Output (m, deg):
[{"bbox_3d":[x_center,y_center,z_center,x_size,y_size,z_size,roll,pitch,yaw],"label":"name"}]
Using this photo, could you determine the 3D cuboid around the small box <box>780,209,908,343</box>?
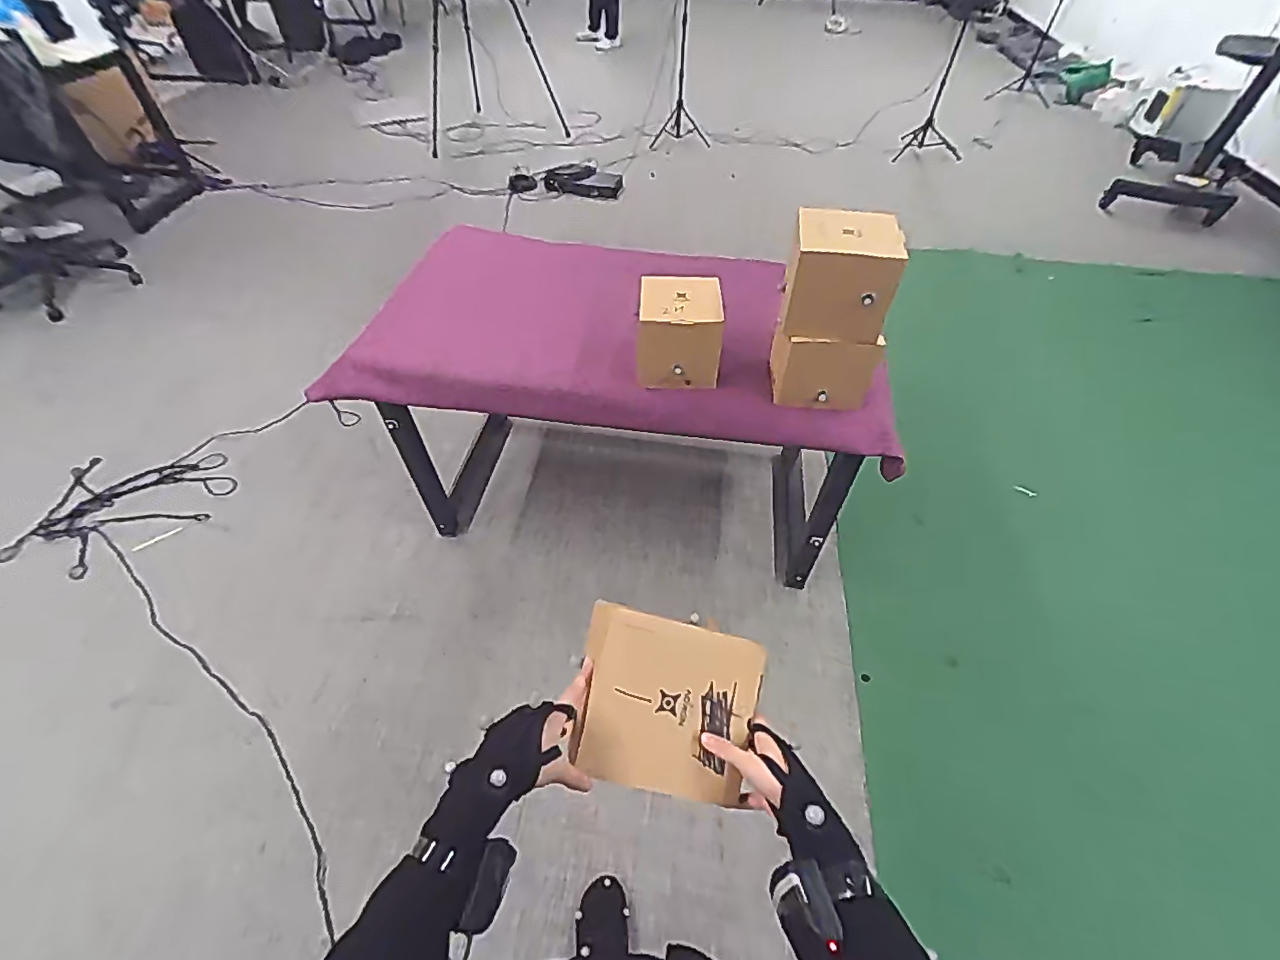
[{"bbox_3d":[0.364,-0.370,0.991,0.179,0.176,0.168,8,50,8],"label":"small box"}]

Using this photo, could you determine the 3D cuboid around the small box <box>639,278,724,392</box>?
[{"bbox_3d":[0.085,-0.310,1.154,0.168,0.176,0.179,1,49,2],"label":"small box"}]

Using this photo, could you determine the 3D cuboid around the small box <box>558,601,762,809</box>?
[{"bbox_3d":[0.013,0.242,0.626,0.179,0.176,0.168,19,77,-6],"label":"small box"}]

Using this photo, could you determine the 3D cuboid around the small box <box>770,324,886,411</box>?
[{"bbox_3d":[0.375,-0.258,1.110,0.179,0.176,0.168,3,50,3],"label":"small box"}]
